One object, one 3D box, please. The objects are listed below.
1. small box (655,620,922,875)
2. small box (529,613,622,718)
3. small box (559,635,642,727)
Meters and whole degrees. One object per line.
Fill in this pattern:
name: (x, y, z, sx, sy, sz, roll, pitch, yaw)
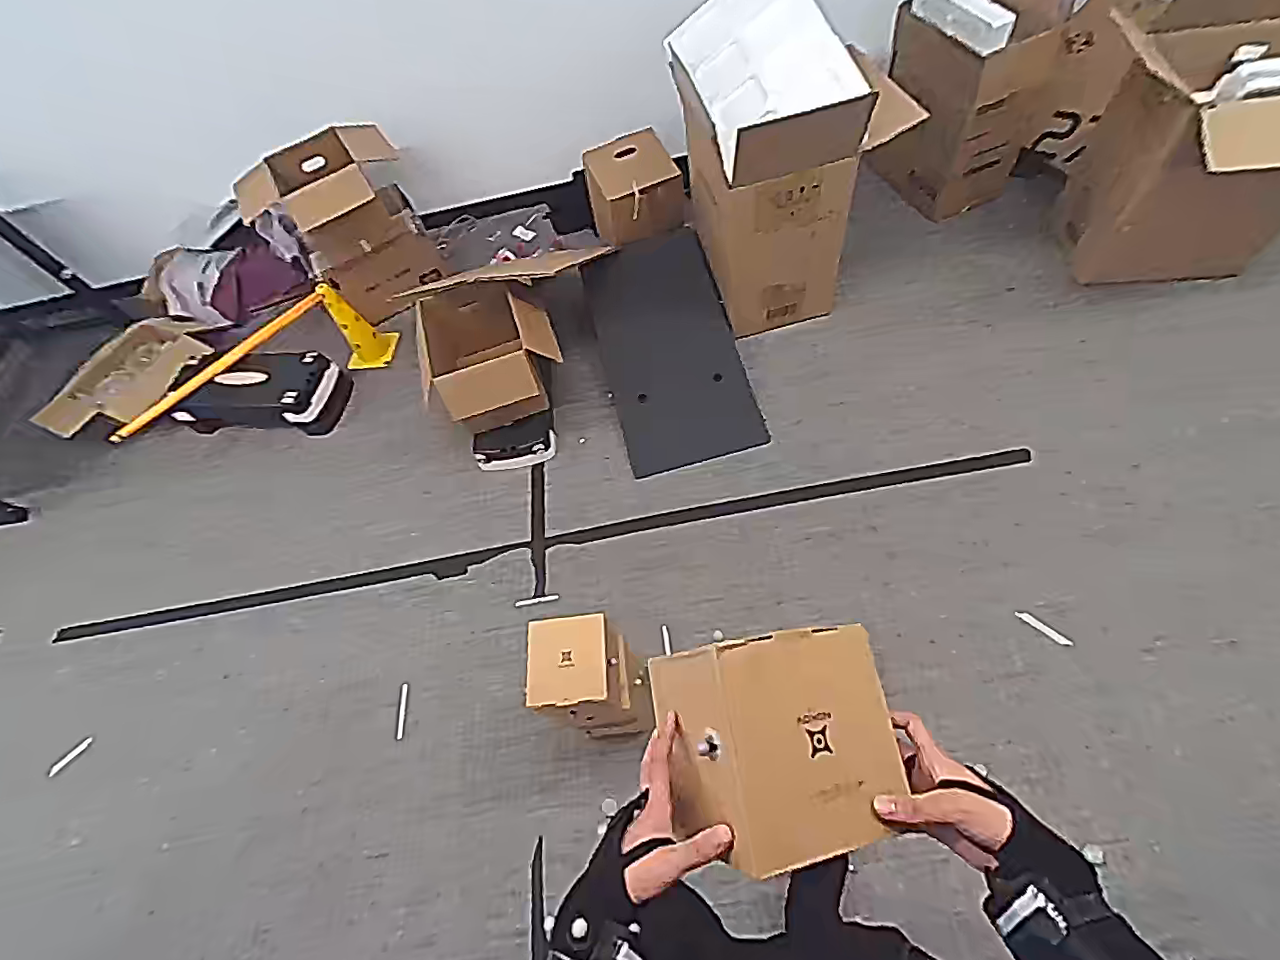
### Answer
small box: (0.125, 0.243, 0.526, 0.168, 0.176, 0.179, 0, 69, -22)
small box: (-0.134, 0.404, 1.169, 0.168, 0.176, 0.179, -8, 59, 4)
small box: (-0.100, 0.489, 1.304, 0.179, 0.176, 0.168, -10, 59, 3)
